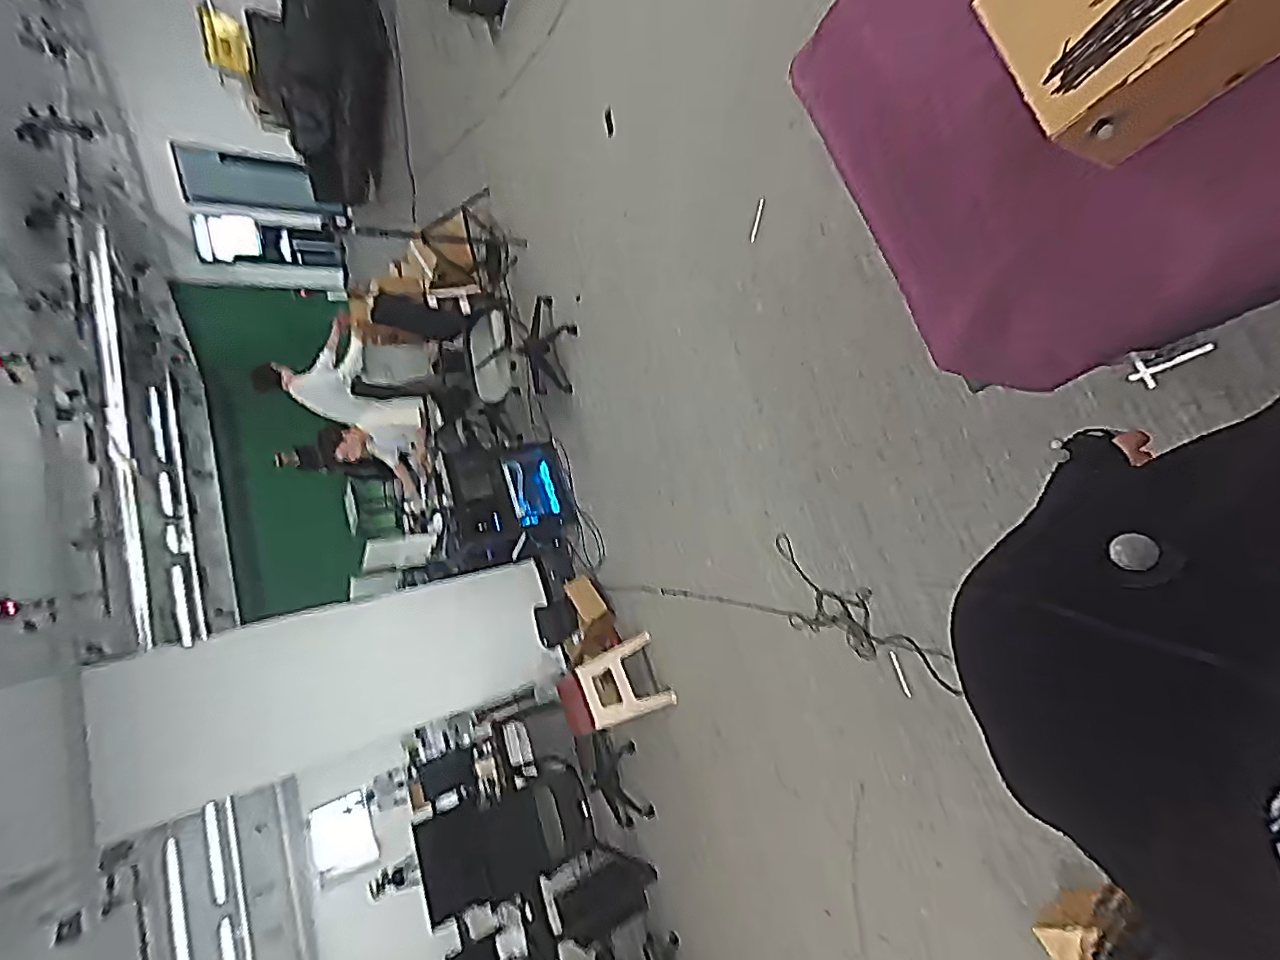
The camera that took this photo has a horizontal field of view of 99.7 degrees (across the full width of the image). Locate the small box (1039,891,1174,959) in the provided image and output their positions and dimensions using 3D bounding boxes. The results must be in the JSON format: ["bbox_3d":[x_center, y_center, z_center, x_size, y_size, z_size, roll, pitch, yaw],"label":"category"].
[{"bbox_3d":[1.111,1.111,1.280,0.168,0.176,0.179,62,143,25],"label":"small box"}]
